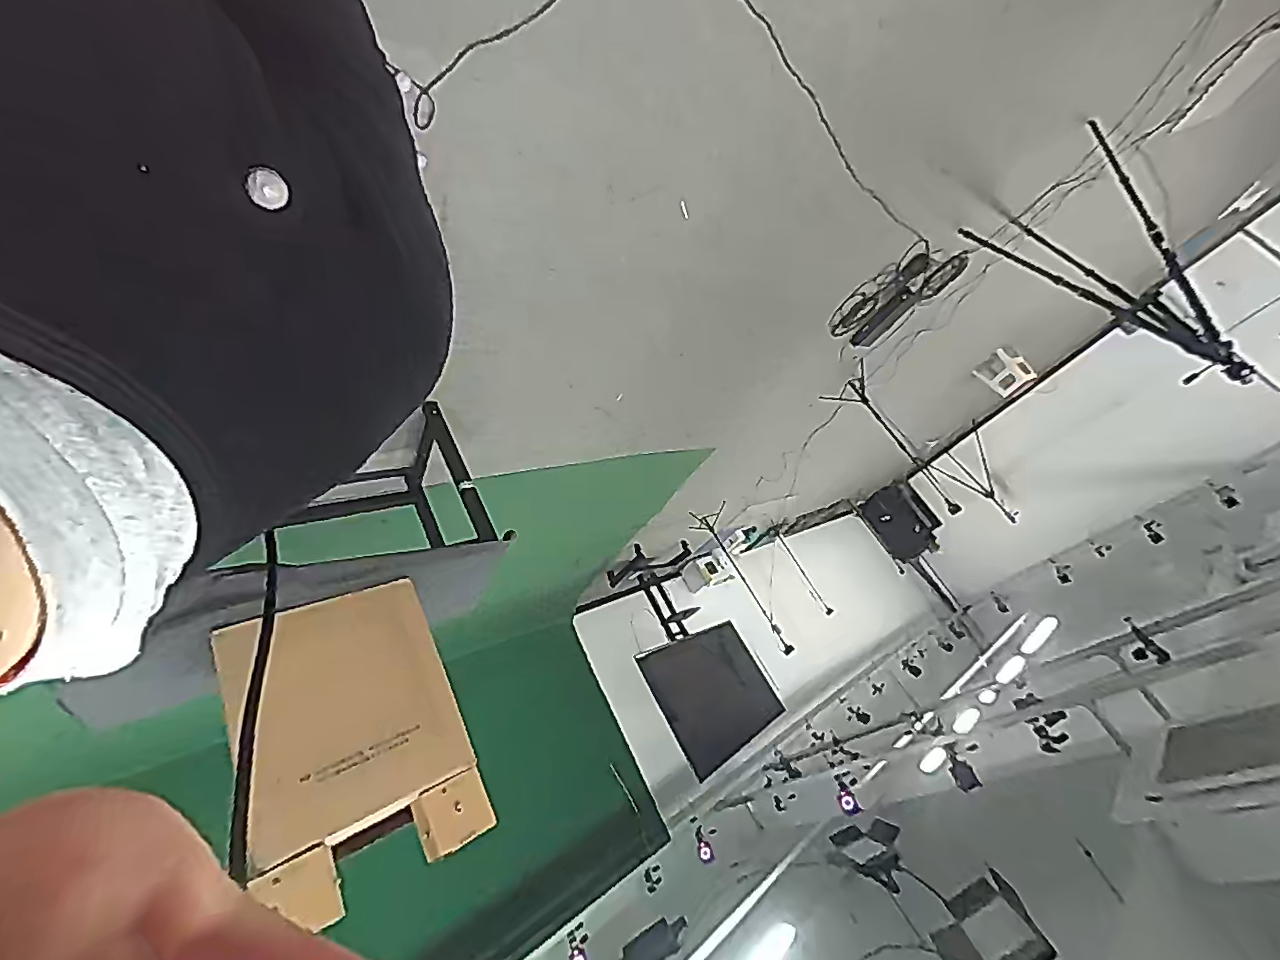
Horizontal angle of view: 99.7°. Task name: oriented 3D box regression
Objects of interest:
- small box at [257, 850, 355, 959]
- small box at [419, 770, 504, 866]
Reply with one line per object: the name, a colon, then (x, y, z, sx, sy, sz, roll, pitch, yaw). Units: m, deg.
small box: (-0.808, 1.031, 1.315, 0.168, 0.176, 0.179, -15, 154, -31)
small box: (-0.522, 0.972, 1.566, 0.168, 0.176, 0.179, -13, 152, -40)
